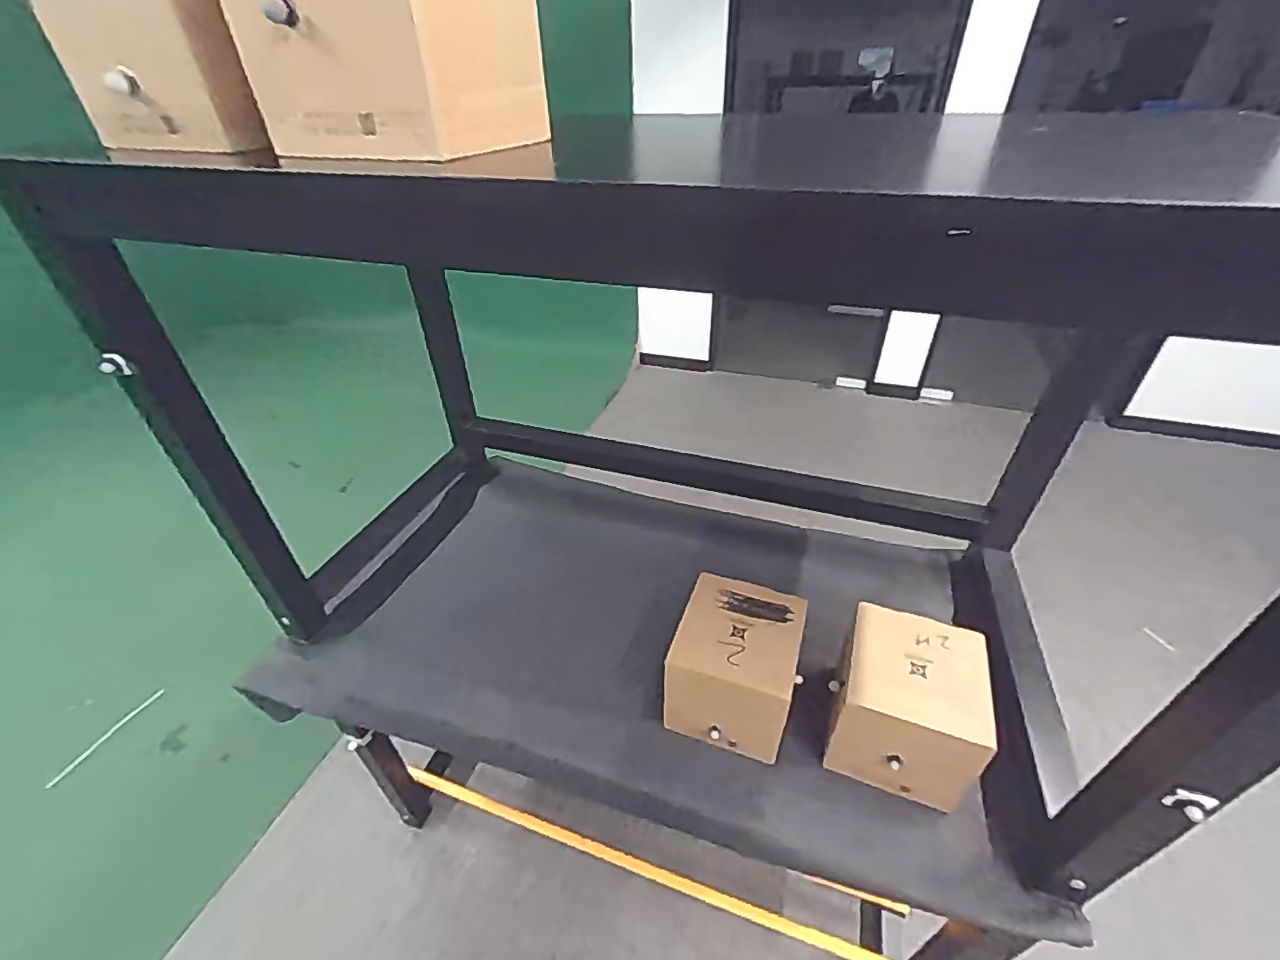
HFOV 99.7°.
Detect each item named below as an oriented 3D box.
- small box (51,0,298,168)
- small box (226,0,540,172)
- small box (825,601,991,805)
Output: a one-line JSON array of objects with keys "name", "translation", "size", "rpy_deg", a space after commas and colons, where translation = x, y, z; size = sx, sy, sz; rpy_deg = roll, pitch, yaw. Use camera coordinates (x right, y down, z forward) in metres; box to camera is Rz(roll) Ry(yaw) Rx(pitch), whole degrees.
[{"name": "small box", "translation": [-0.405, -0.411, 0.518], "size": [0.168, 0.176, 0.179], "rpy_deg": [12, 40, 17]}, {"name": "small box", "translation": [-0.198, -0.360, 0.446], "size": [0.168, 0.176, 0.179], "rpy_deg": [11, 38, 17]}, {"name": "small box", "translation": [0.360, 0.305, 0.747], "size": [0.168, 0.176, 0.179], "rpy_deg": [13, 38, 19]}]
